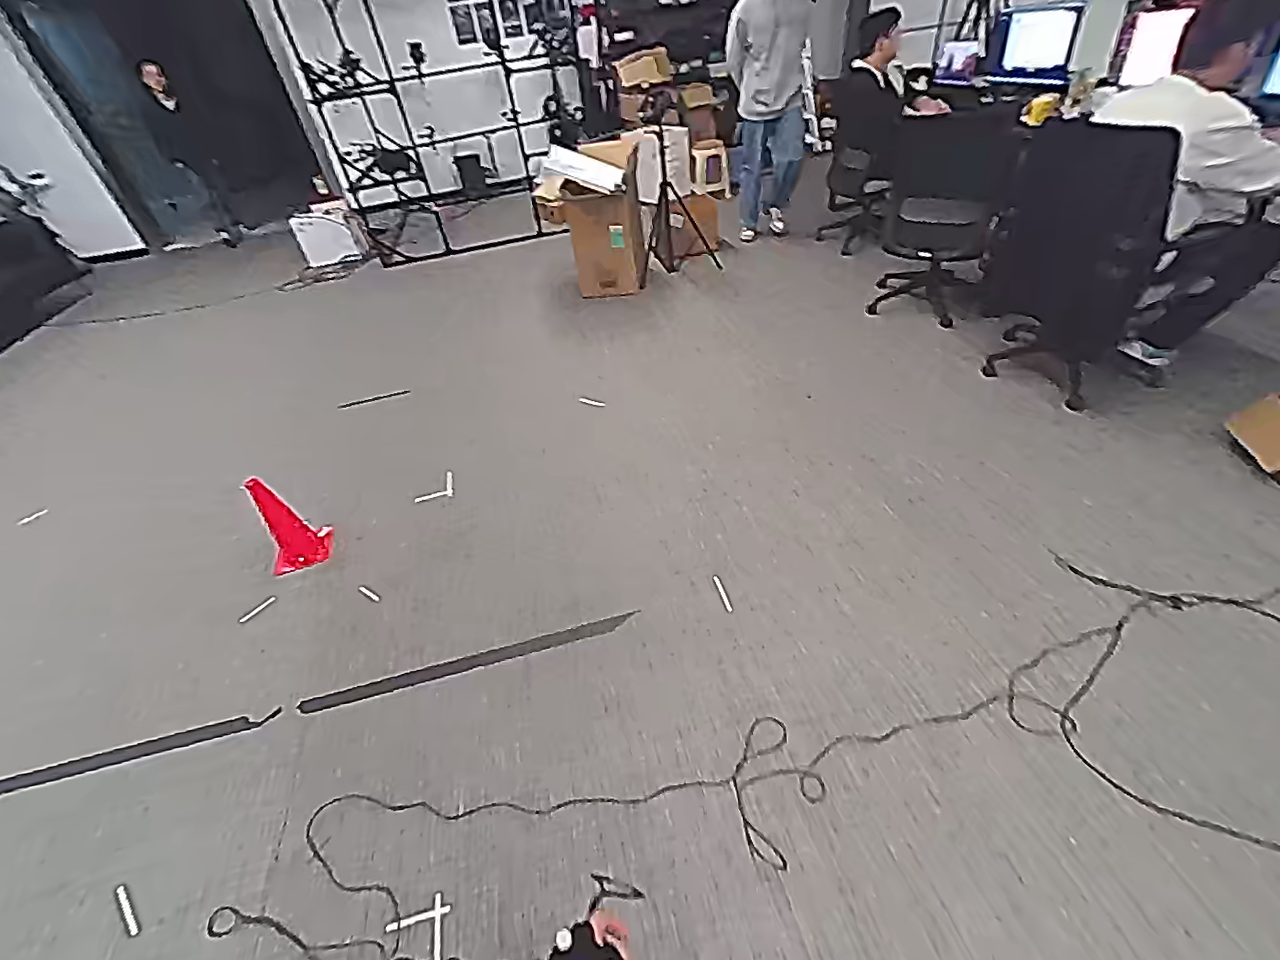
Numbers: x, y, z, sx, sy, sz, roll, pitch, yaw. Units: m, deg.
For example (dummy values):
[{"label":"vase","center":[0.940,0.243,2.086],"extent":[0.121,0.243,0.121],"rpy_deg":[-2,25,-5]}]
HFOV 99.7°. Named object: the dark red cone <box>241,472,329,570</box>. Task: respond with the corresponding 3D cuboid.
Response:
[{"label":"dark red cone","center":[-1.318,0.131,1.962],"extent":[0.202,0.394,0.201],"rpy_deg":[-19,42,-12]}]
